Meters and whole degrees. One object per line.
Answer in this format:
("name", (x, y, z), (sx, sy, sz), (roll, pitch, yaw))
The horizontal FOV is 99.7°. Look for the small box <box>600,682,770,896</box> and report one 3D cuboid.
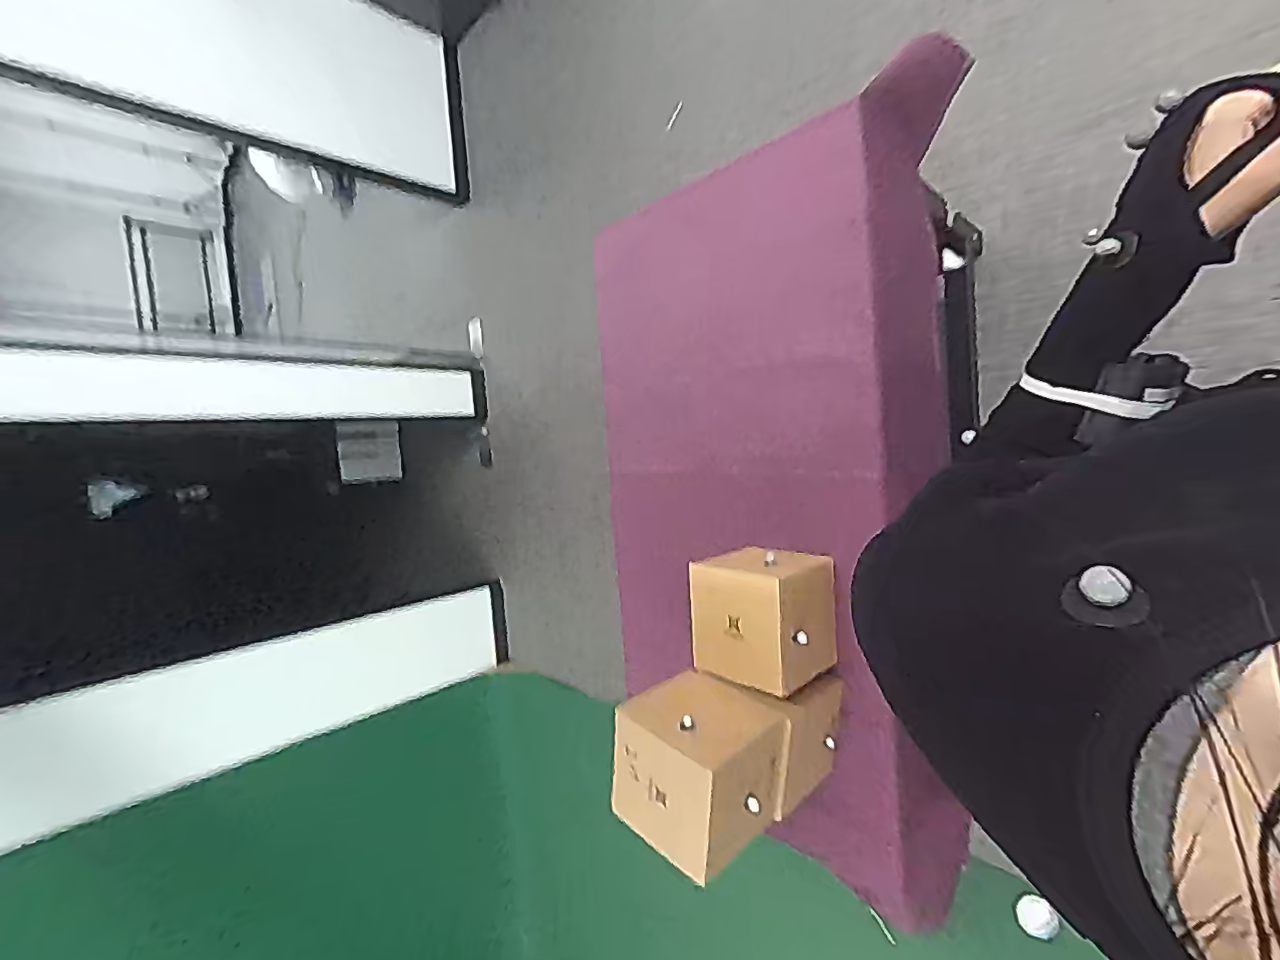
("small box", (0.065, 0.412, 0.763), (0.179, 0.176, 0.168), (12, 102, 43))
